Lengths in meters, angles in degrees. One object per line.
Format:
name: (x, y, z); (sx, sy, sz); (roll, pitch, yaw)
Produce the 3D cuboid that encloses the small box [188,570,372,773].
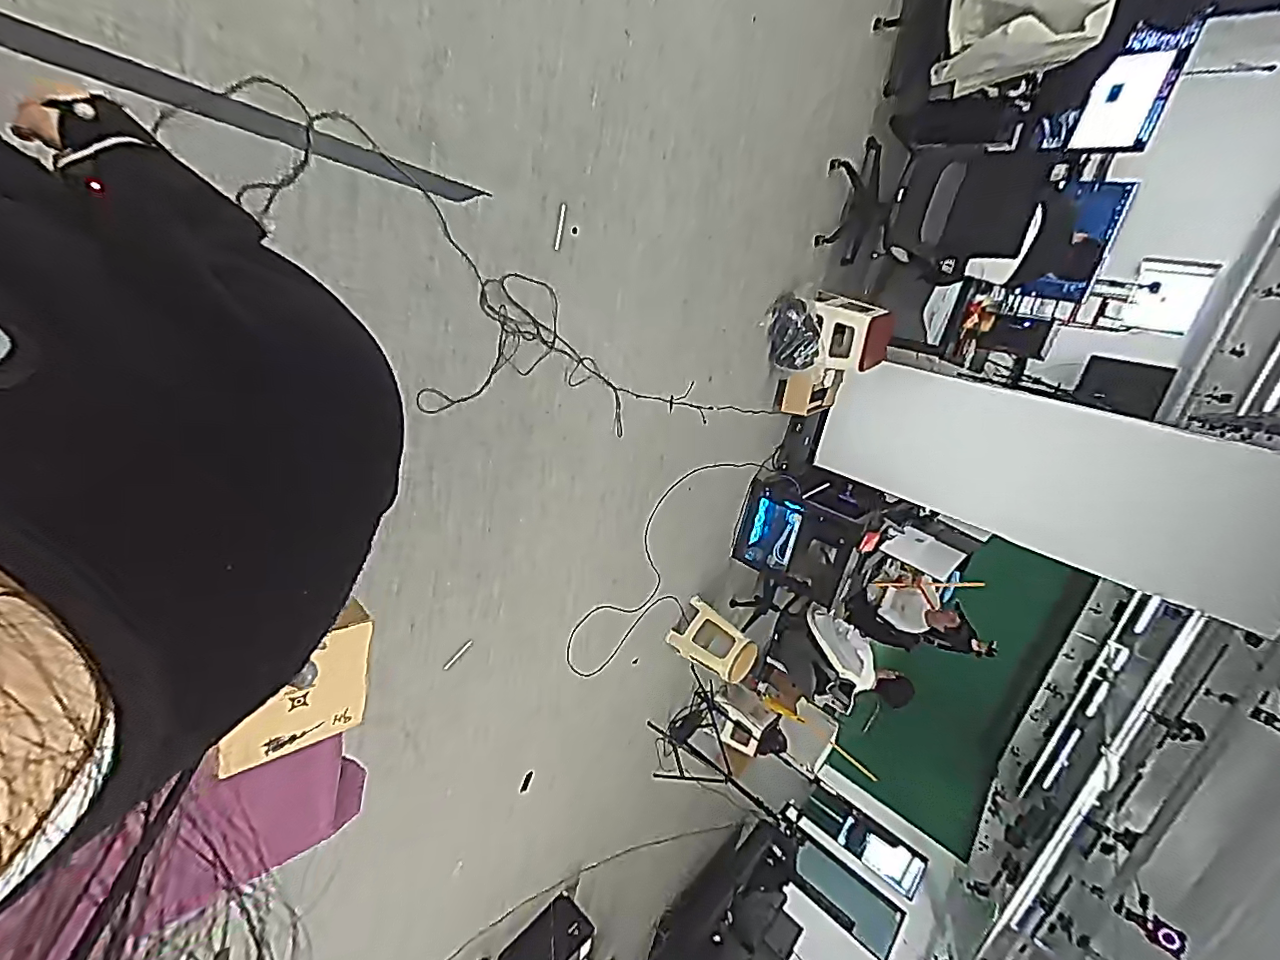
small box: (-0.483, 0.235, 0.724); (0.168, 0.176, 0.179); (-6, 116, -49)
